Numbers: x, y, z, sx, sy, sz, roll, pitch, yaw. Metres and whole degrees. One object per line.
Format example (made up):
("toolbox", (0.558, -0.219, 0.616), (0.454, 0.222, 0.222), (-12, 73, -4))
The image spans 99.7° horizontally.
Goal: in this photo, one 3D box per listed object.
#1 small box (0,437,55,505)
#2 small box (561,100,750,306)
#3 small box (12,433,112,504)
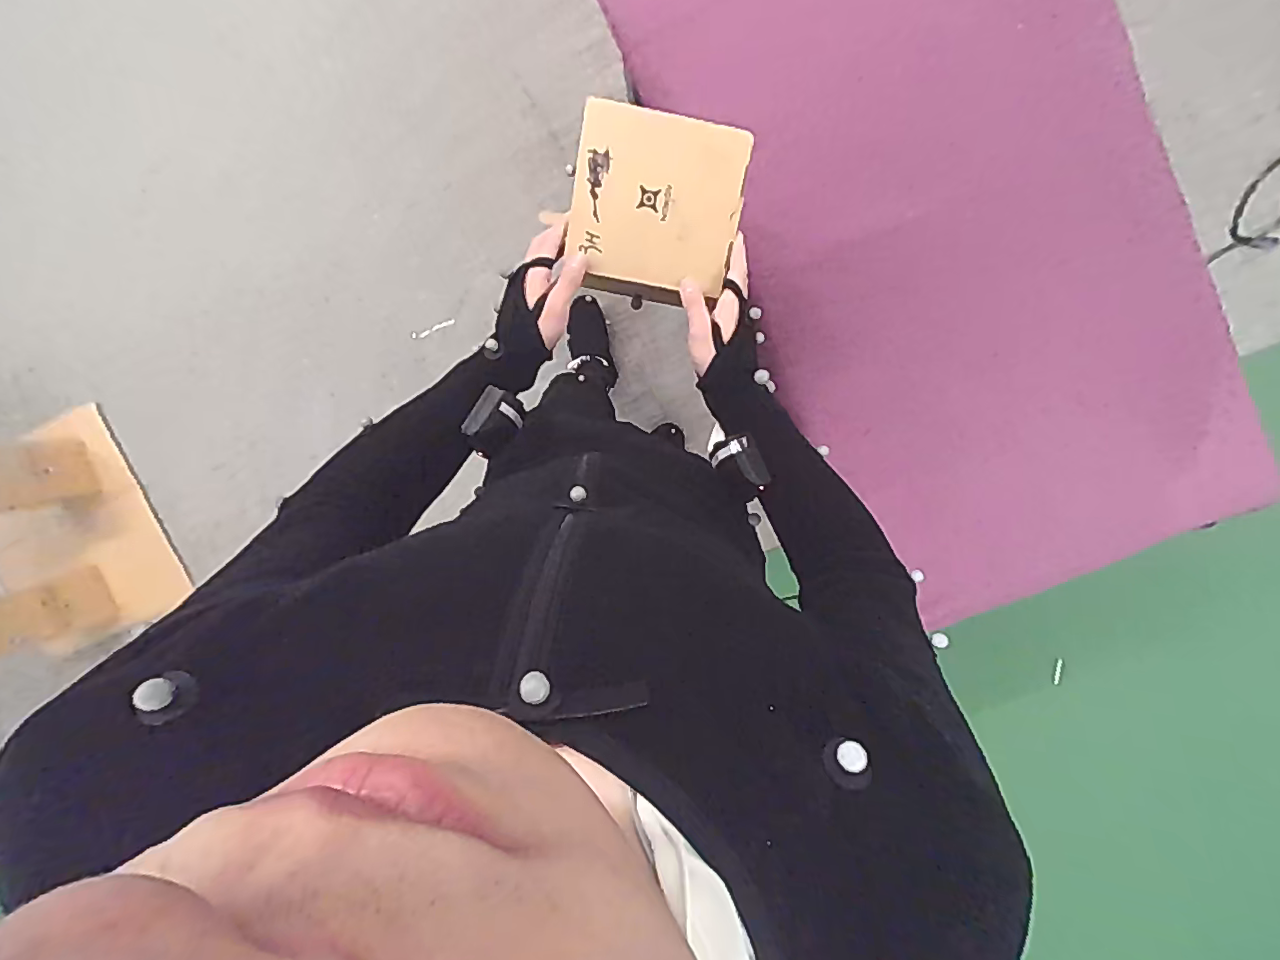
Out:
("small box", (-1.807, -0.020, 1.499), (0.168, 0.176, 0.179), (-13, 98, 6))
("small box", (0.010, -0.308, 0.643), (0.179, 0.176, 0.168), (9, 103, -5))
("small box", (-1.803, -0.041, 1.663), (0.168, 0.176, 0.179), (-17, 97, 7))
